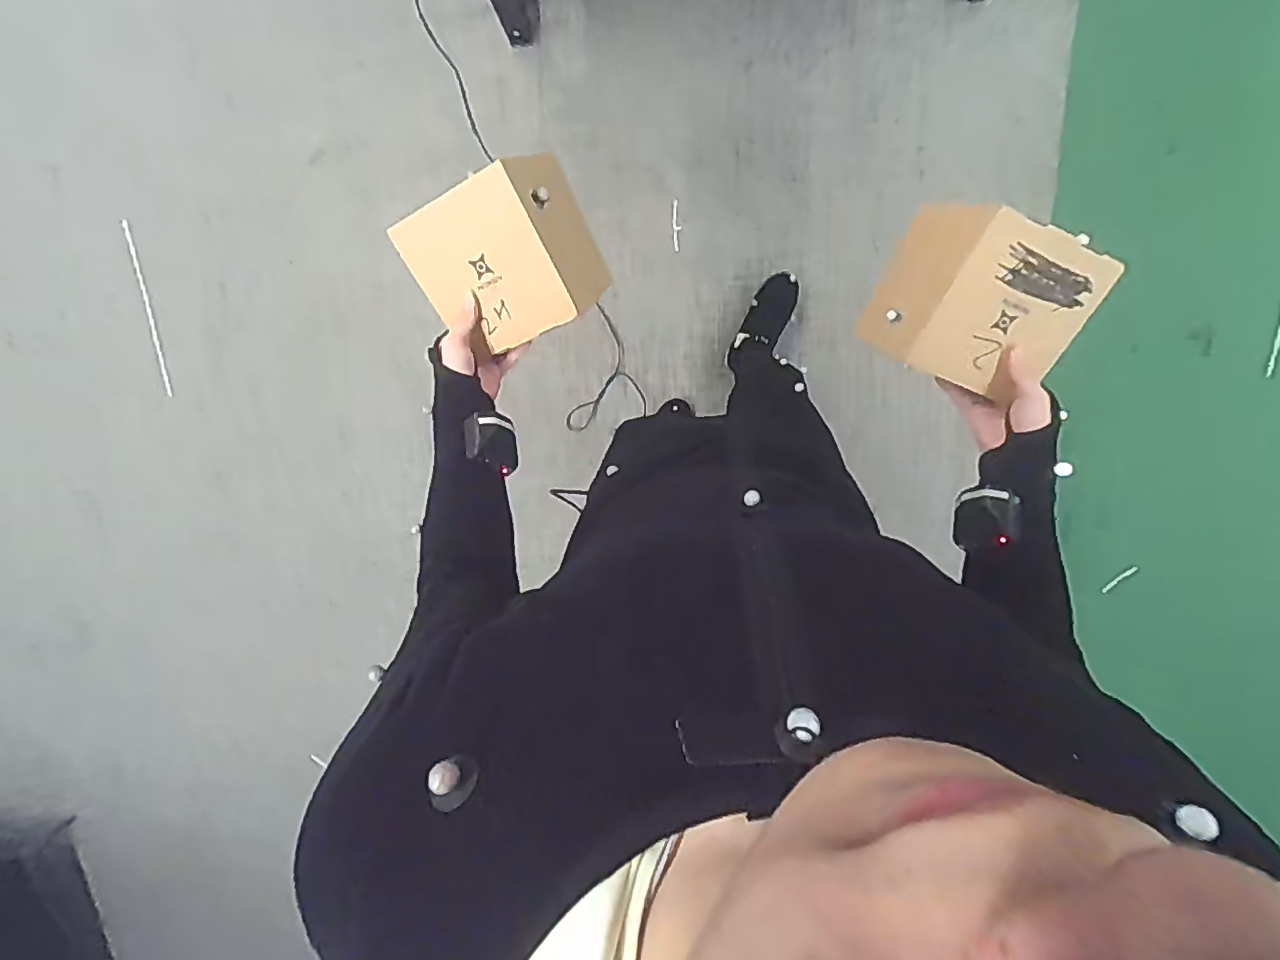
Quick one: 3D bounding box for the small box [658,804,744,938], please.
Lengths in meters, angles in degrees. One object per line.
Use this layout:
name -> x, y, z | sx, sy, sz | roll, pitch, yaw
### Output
small box -> 0.131, 0.873, 1.221 | 0.168, 0.176, 0.179 | 6, 104, 2

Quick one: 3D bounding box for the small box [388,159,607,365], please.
small box -> -0.163, -0.276, 0.679 | 0.168, 0.176, 0.179 | -17, 118, 23
